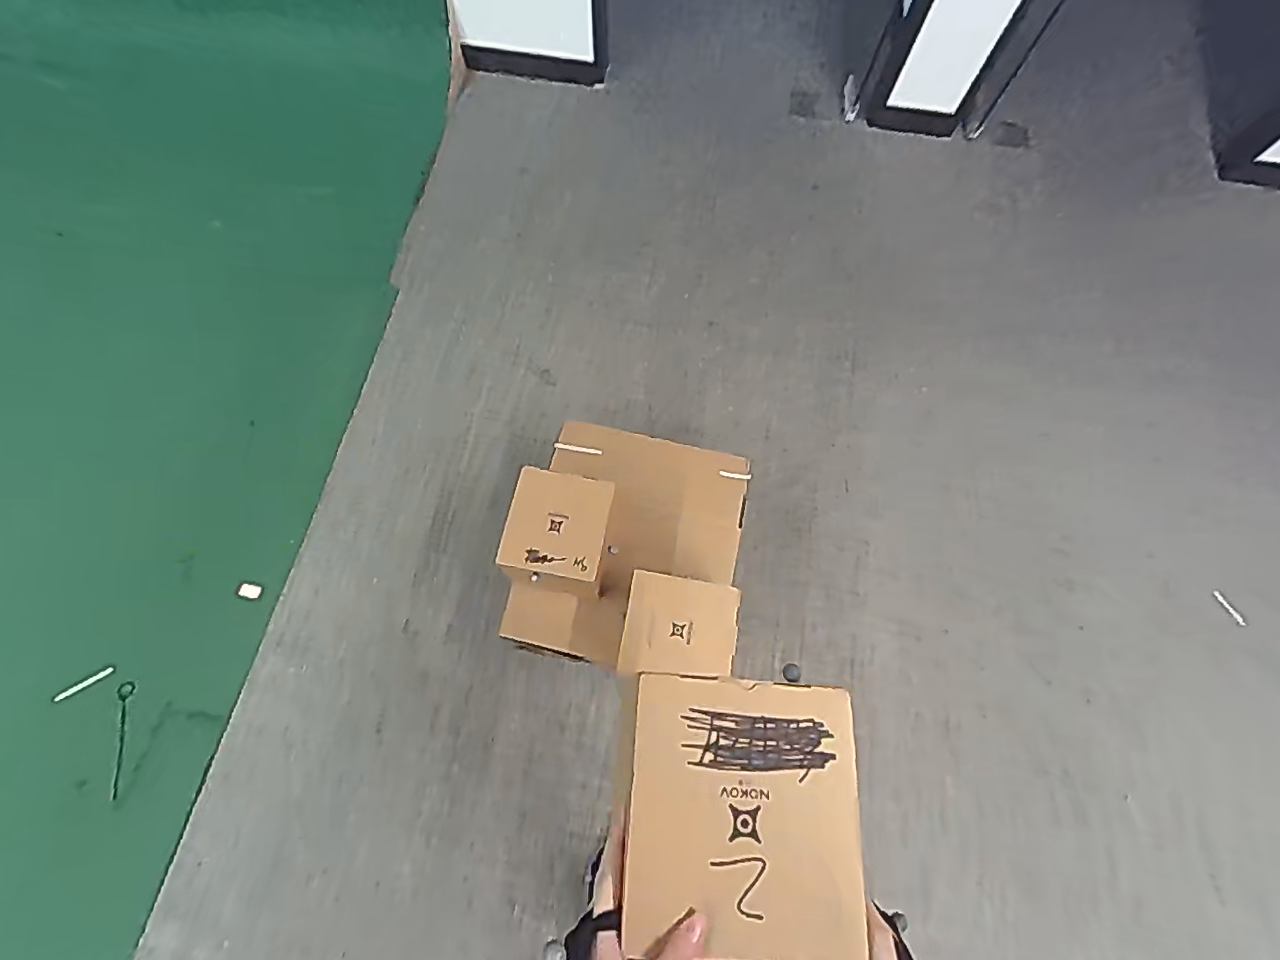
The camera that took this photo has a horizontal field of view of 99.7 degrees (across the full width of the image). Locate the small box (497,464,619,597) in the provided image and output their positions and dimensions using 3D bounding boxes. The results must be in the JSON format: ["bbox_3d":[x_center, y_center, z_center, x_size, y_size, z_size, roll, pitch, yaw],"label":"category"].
[{"bbox_3d":[-0.136,0.095,0.958,0.168,0.176,0.179,11,69,2],"label":"small box"}]

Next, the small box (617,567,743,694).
[{"bbox_3d":[0.061,0.254,0.907,0.179,0.176,0.168,10,69,2],"label":"small box"}]
